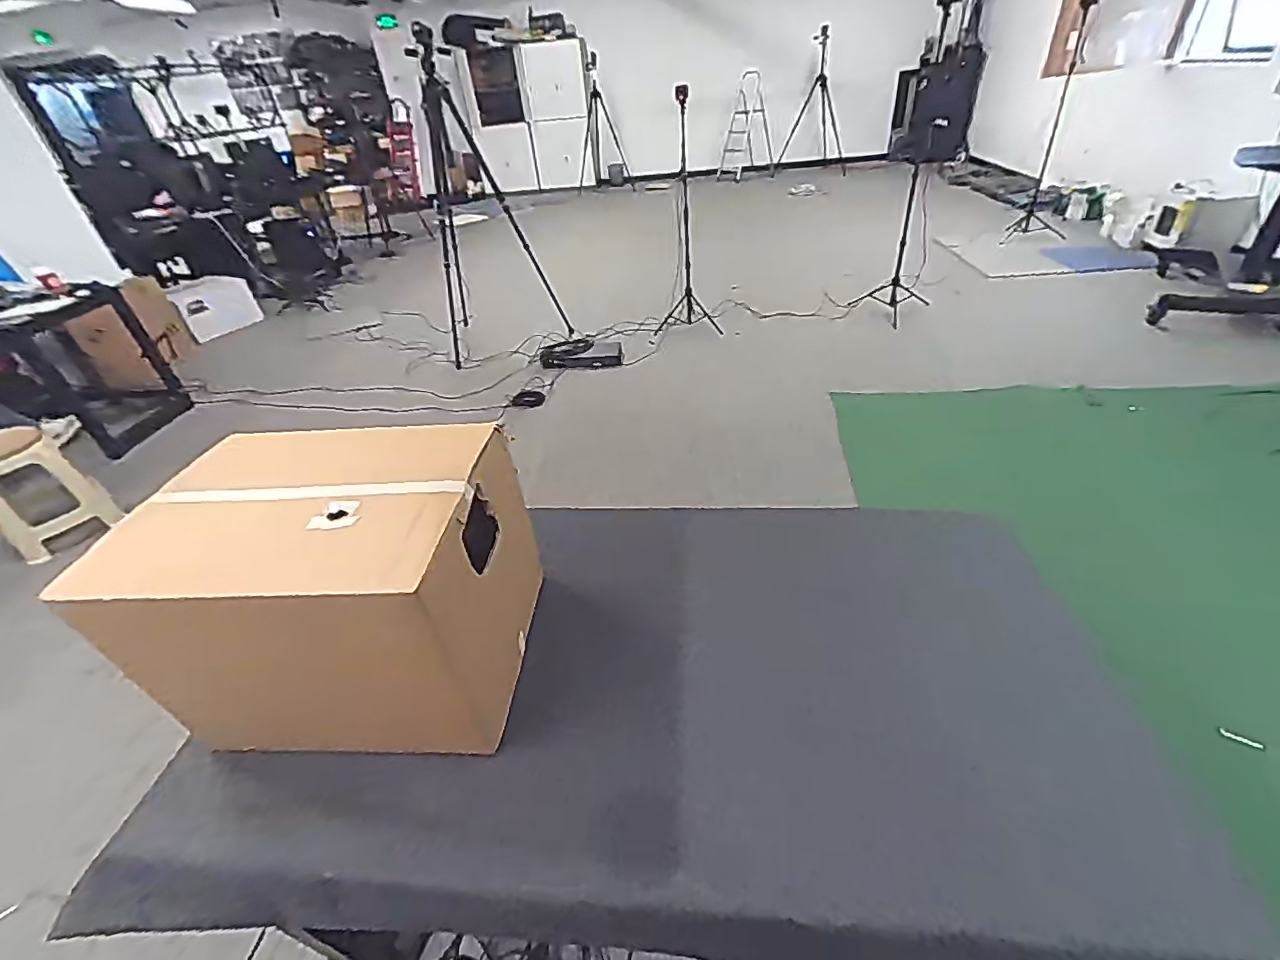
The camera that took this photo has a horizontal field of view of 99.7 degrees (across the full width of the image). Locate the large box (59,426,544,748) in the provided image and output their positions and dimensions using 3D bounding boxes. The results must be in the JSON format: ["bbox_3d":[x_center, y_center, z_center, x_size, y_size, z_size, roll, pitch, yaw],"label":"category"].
[{"bbox_3d":[-0.377,0.141,0.739,0.408,0.320,0.320,-1,37,4],"label":"large box"}]
